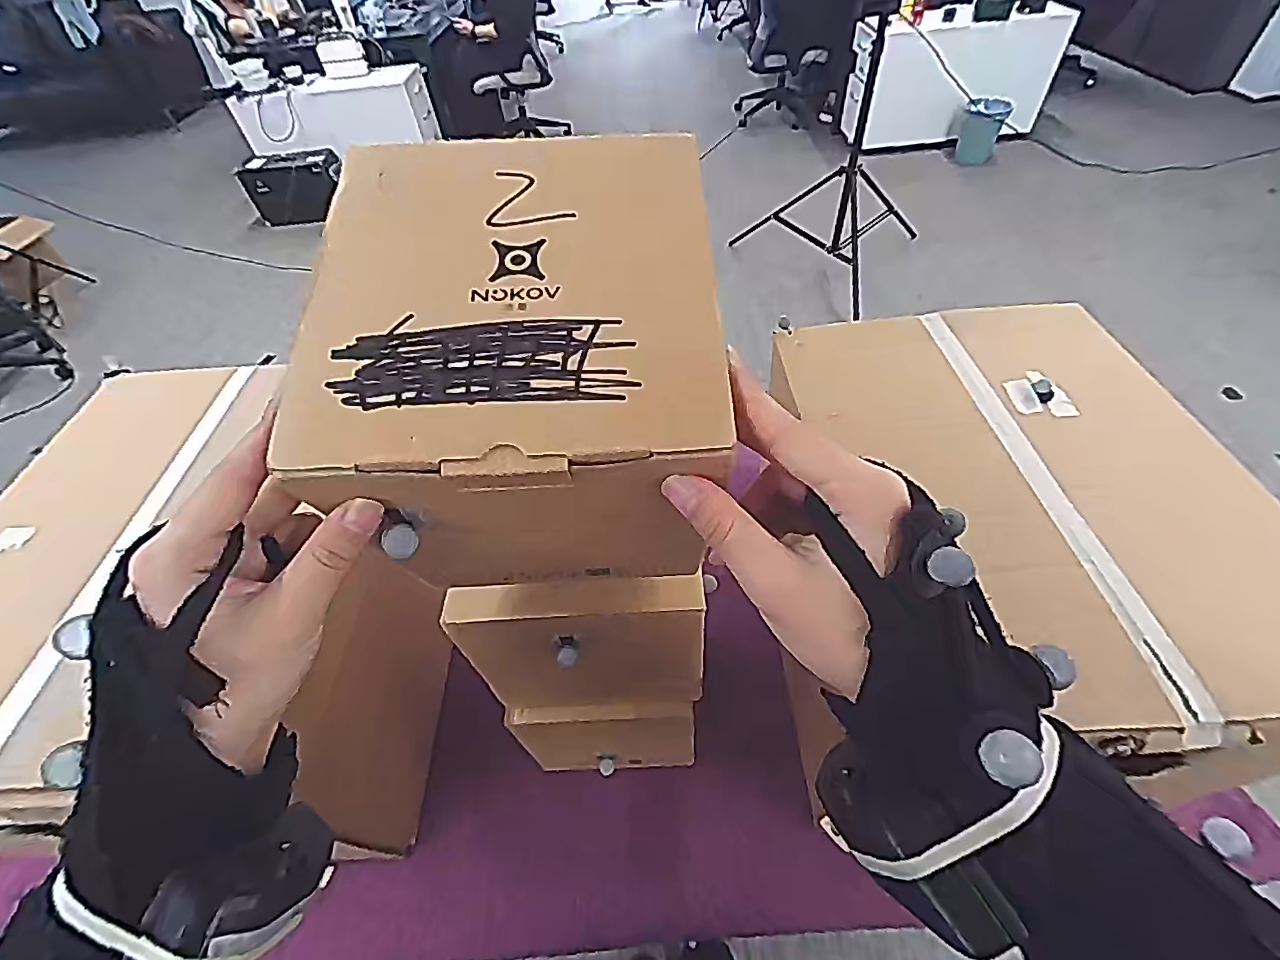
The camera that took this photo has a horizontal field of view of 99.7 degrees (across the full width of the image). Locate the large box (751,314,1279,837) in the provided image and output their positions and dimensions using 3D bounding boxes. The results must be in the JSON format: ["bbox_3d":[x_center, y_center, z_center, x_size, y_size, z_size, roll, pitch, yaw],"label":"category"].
[{"bbox_3d":[0.305,0.089,0.544,0.320,0.320,0.408,-4,48,2],"label":"large box"}]
